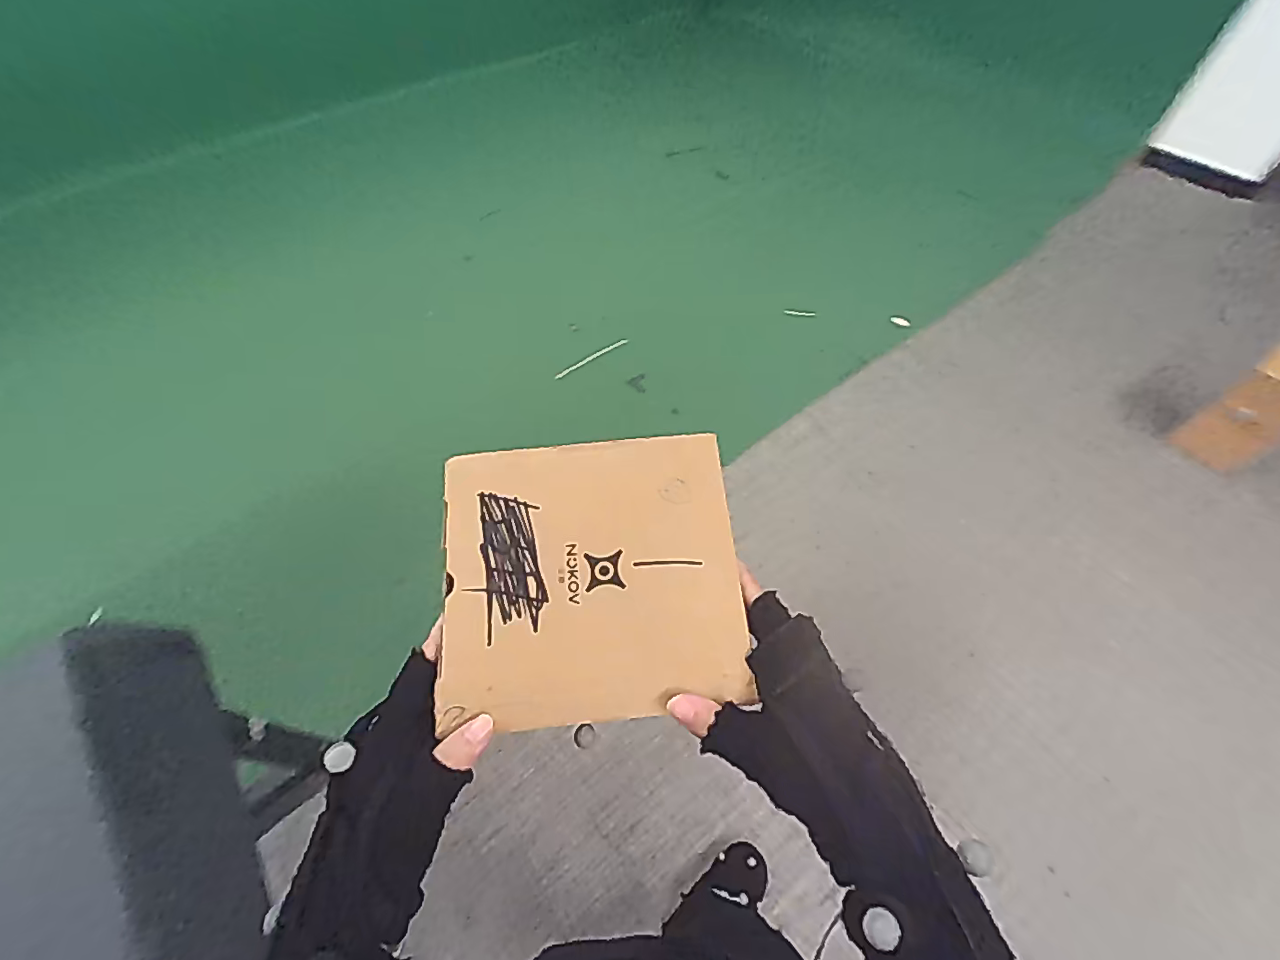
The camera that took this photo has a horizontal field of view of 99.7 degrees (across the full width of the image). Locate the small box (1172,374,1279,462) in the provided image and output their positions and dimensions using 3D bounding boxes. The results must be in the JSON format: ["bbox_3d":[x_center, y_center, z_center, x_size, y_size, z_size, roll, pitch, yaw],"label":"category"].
[{"bbox_3d":[1.780,-0.177,1.617,0.168,0.176,0.179,-32,61,-17],"label":"small box"}]

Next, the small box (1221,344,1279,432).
[{"bbox_3d":[1.777,-0.267,1.481,0.179,0.176,0.168,-34,60,-17],"label":"small box"}]

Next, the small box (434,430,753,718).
[{"bbox_3d":[-0.028,0.078,0.392,0.179,0.176,0.168,-4,69,-1],"label":"small box"}]
